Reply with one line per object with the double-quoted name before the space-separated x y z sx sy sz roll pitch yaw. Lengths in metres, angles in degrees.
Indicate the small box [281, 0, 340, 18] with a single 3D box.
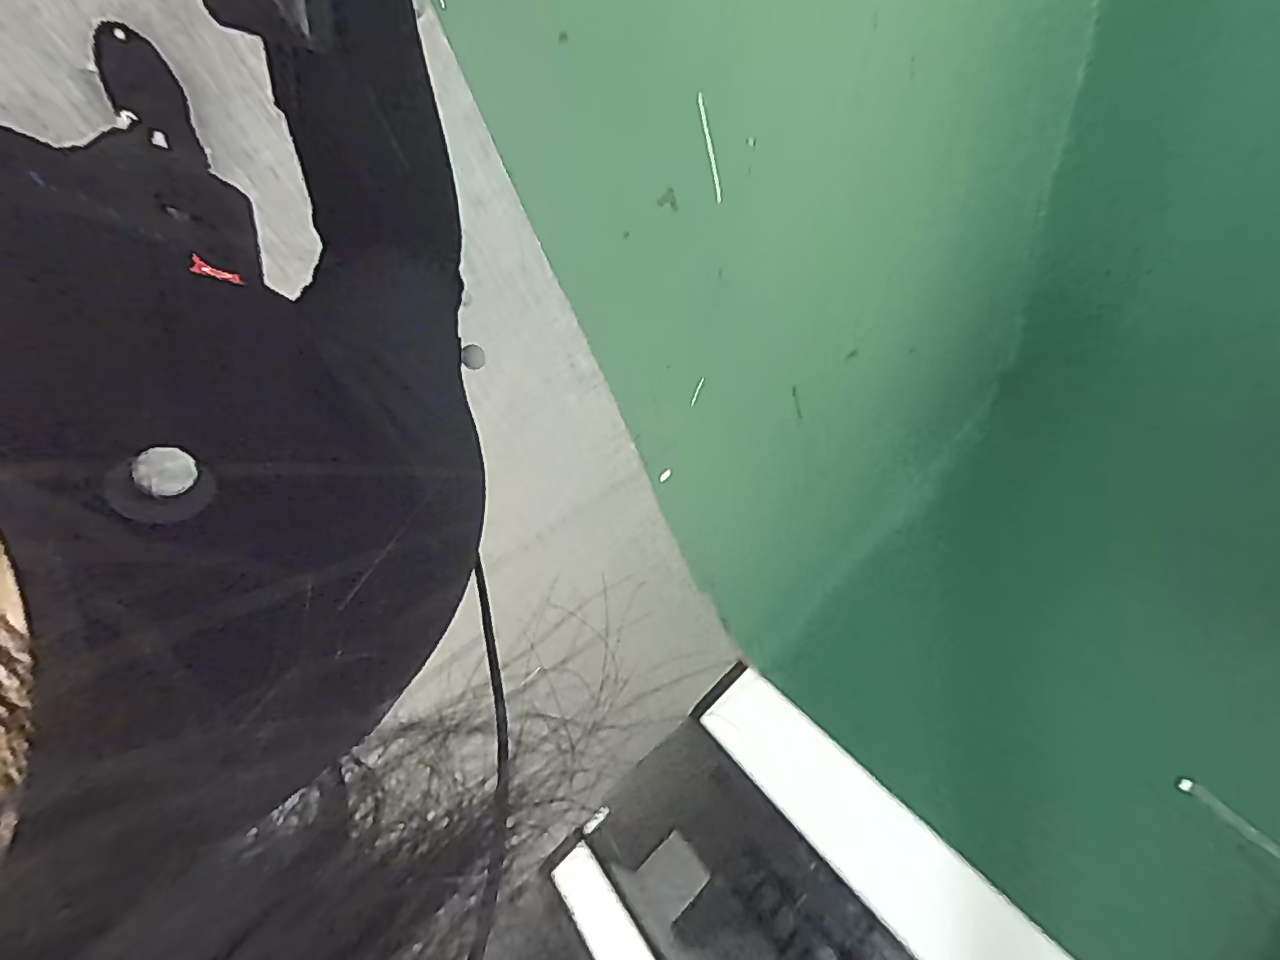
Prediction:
"small box" -0.582 -0.939 0.931 0.168 0.176 0.179 -45 137 -10
